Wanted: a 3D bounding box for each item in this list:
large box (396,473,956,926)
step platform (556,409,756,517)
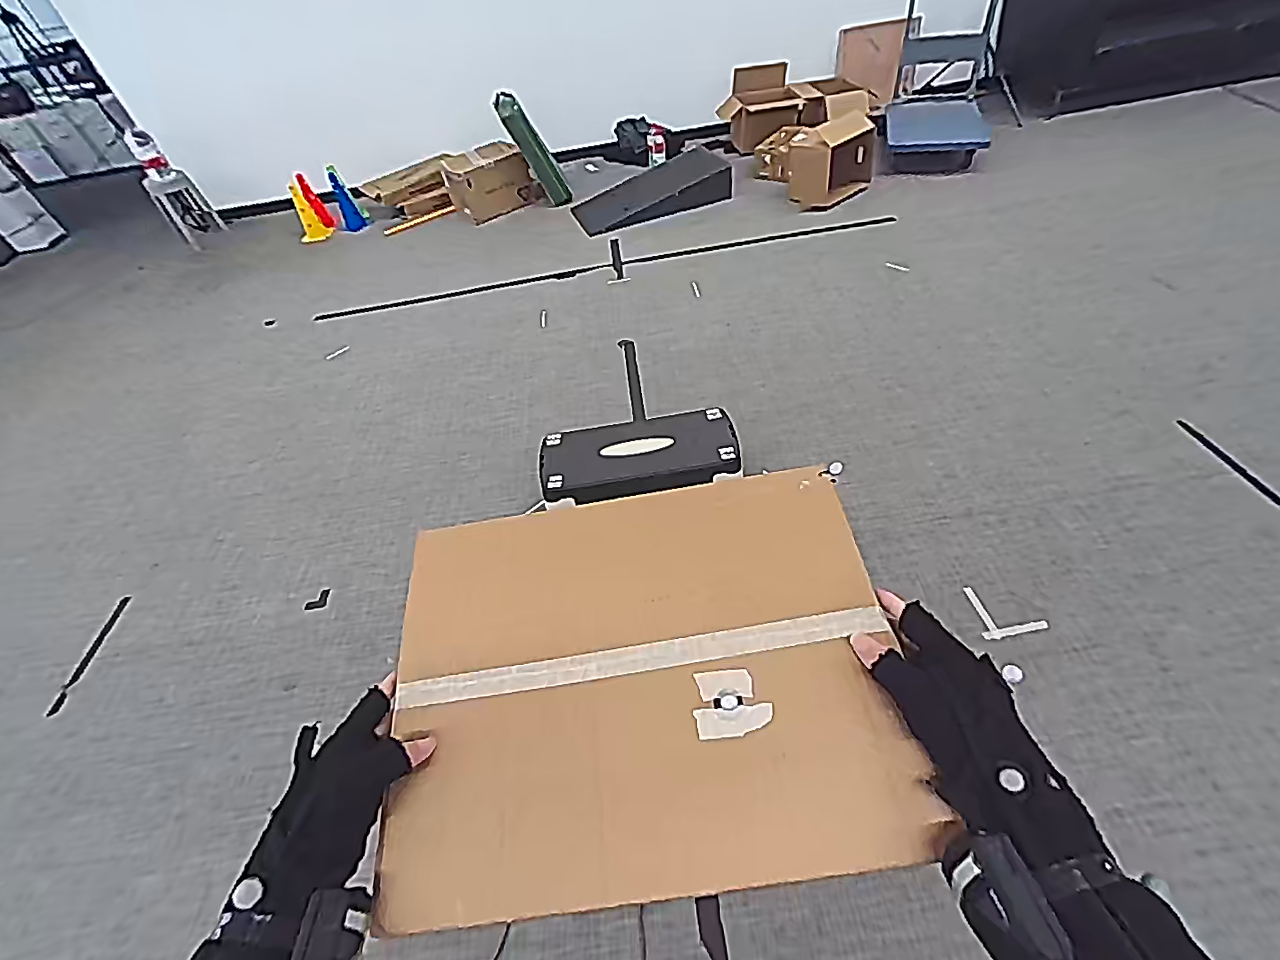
[{"bbox_3d":[0.021,0.234,0.577,0.408,0.320,0.320,-10,56,2],"label":"large box"},{"bbox_3d":[0.051,-0.047,1.881,0.684,0.204,0.286,-9,47,0],"label":"step platform"}]
